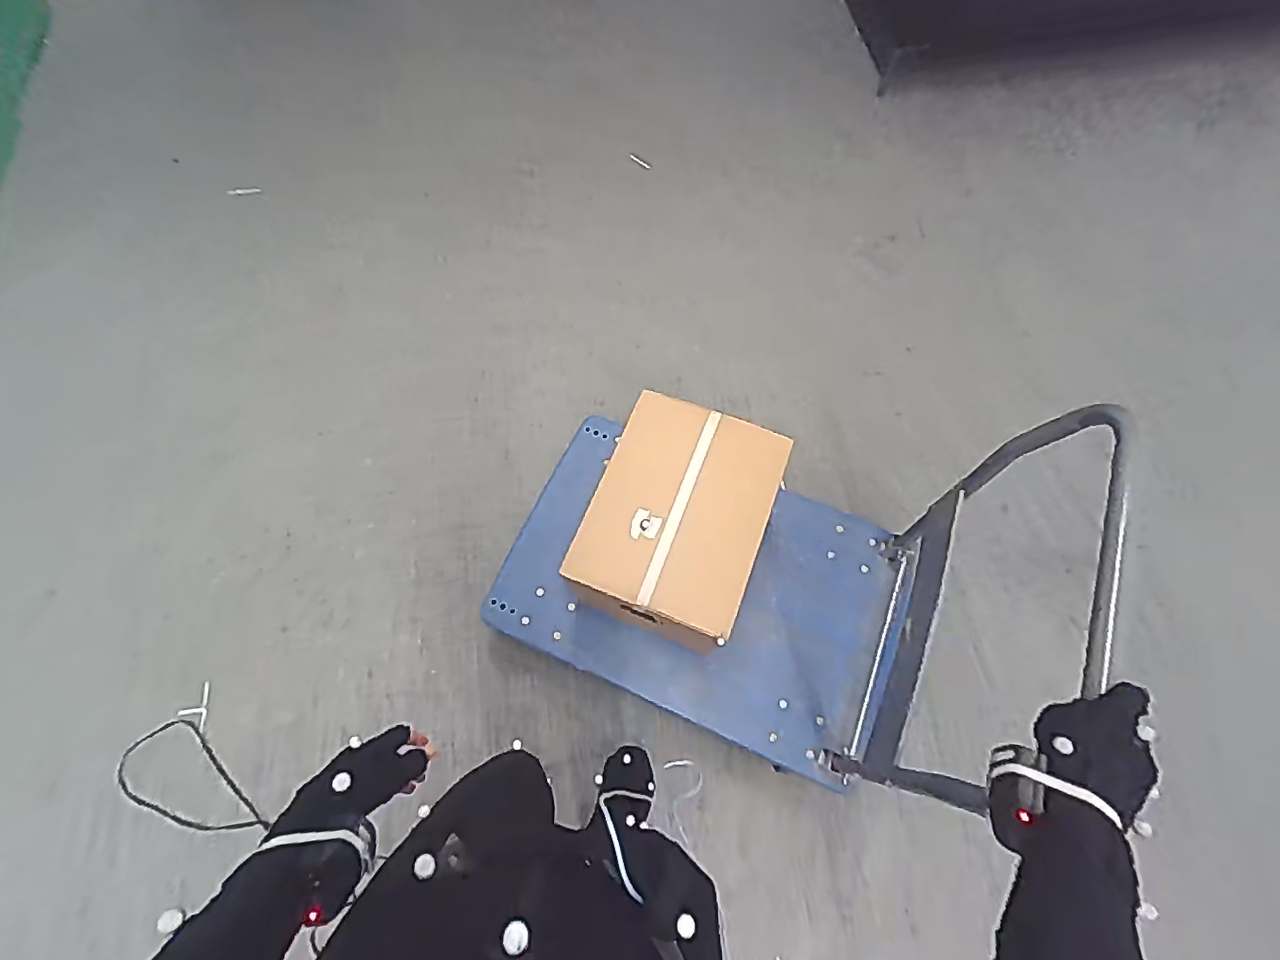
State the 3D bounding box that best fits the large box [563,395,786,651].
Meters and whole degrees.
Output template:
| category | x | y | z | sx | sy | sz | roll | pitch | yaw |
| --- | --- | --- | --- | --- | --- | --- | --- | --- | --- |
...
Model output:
| category | x | y | z | sx | sy | sz | roll | pitch | yaw |
| --- | --- | --- | --- | --- | --- | --- | --- | --- | --- |
| large box | 0.075 | 0.101 | 1.131 | 0.320 | 0.320 | 0.408 | 20 | 70 | 9 |
